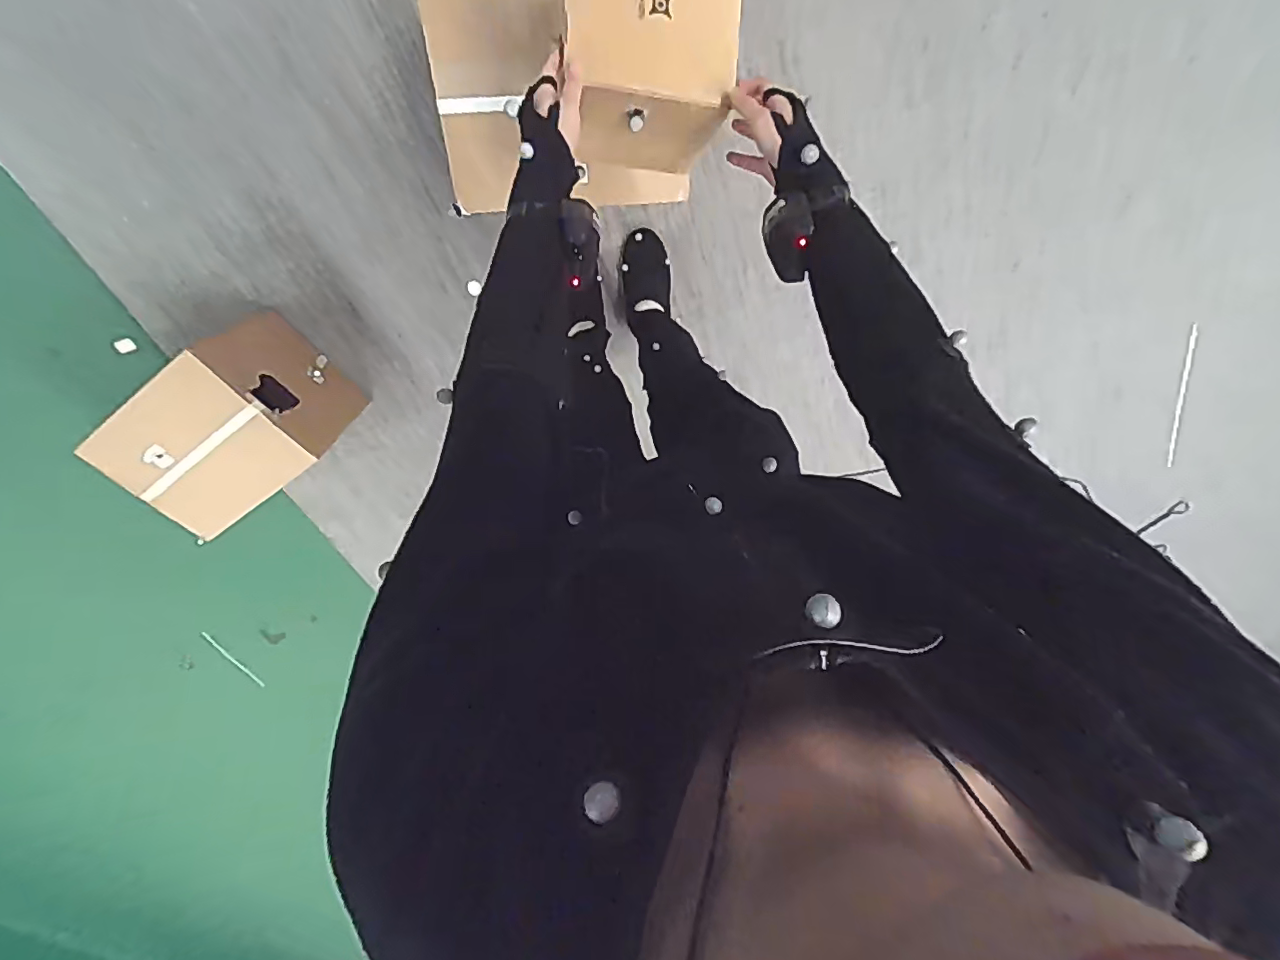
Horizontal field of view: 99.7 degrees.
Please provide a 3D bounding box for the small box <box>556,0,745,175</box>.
[{"bbox_3d":[0.002,-0.464,0.599,0.179,0.176,0.168,2,96,-12],"label":"small box"}]

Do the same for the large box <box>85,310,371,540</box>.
[{"bbox_3d":[-0.948,-0.135,1.294,0.408,0.320,0.320,-30,118,16],"label":"large box"}]
